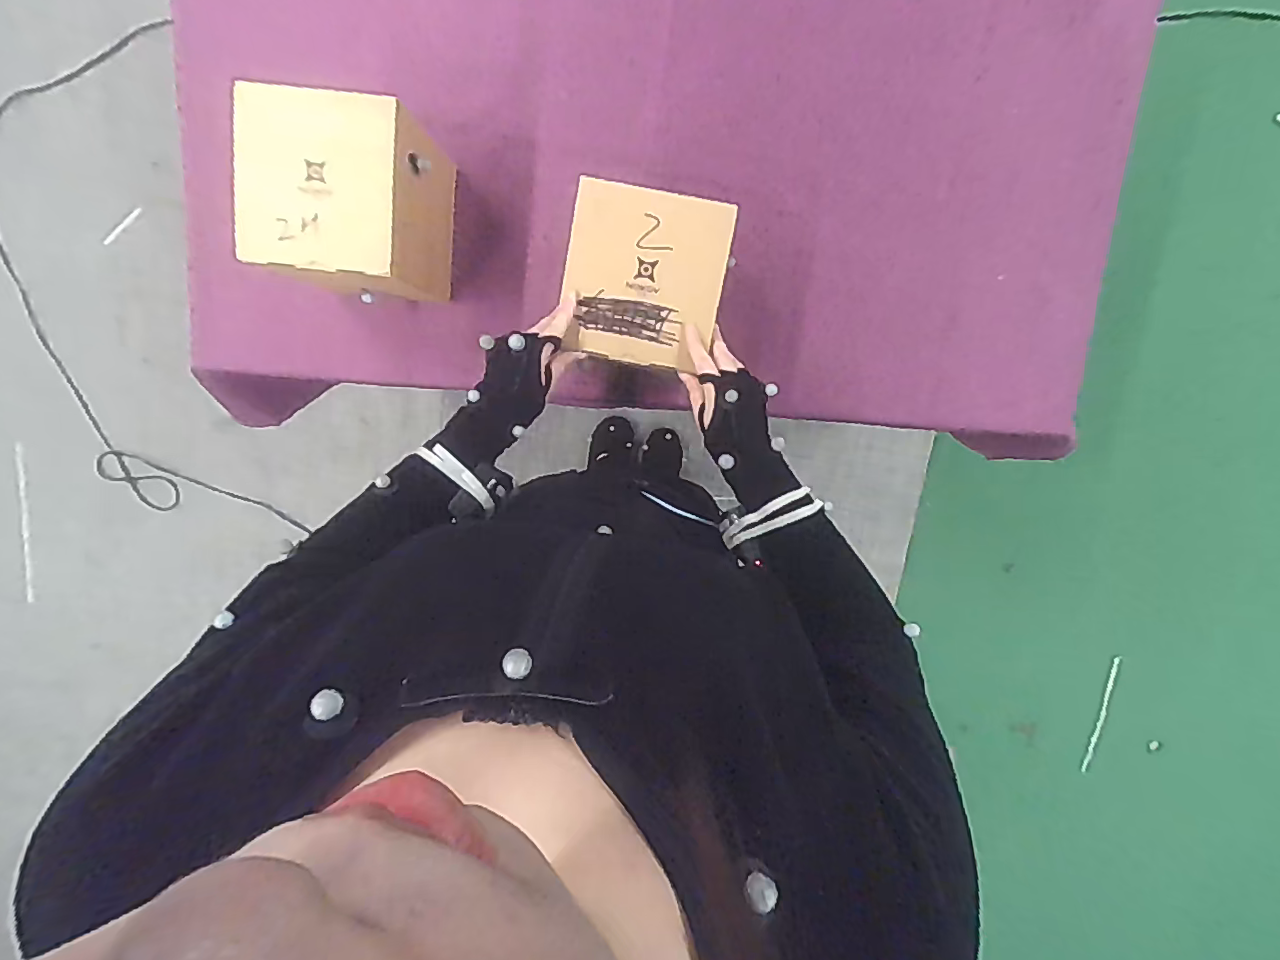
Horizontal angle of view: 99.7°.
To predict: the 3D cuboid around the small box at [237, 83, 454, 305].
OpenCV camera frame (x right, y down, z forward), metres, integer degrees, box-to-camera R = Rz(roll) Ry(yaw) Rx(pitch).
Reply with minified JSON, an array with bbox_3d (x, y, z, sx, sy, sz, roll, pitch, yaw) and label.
[{"bbox_3d":[-0.328,-0.315,0.632,0.168,0.176,0.179,6,99,1],"label":"small box"}]
